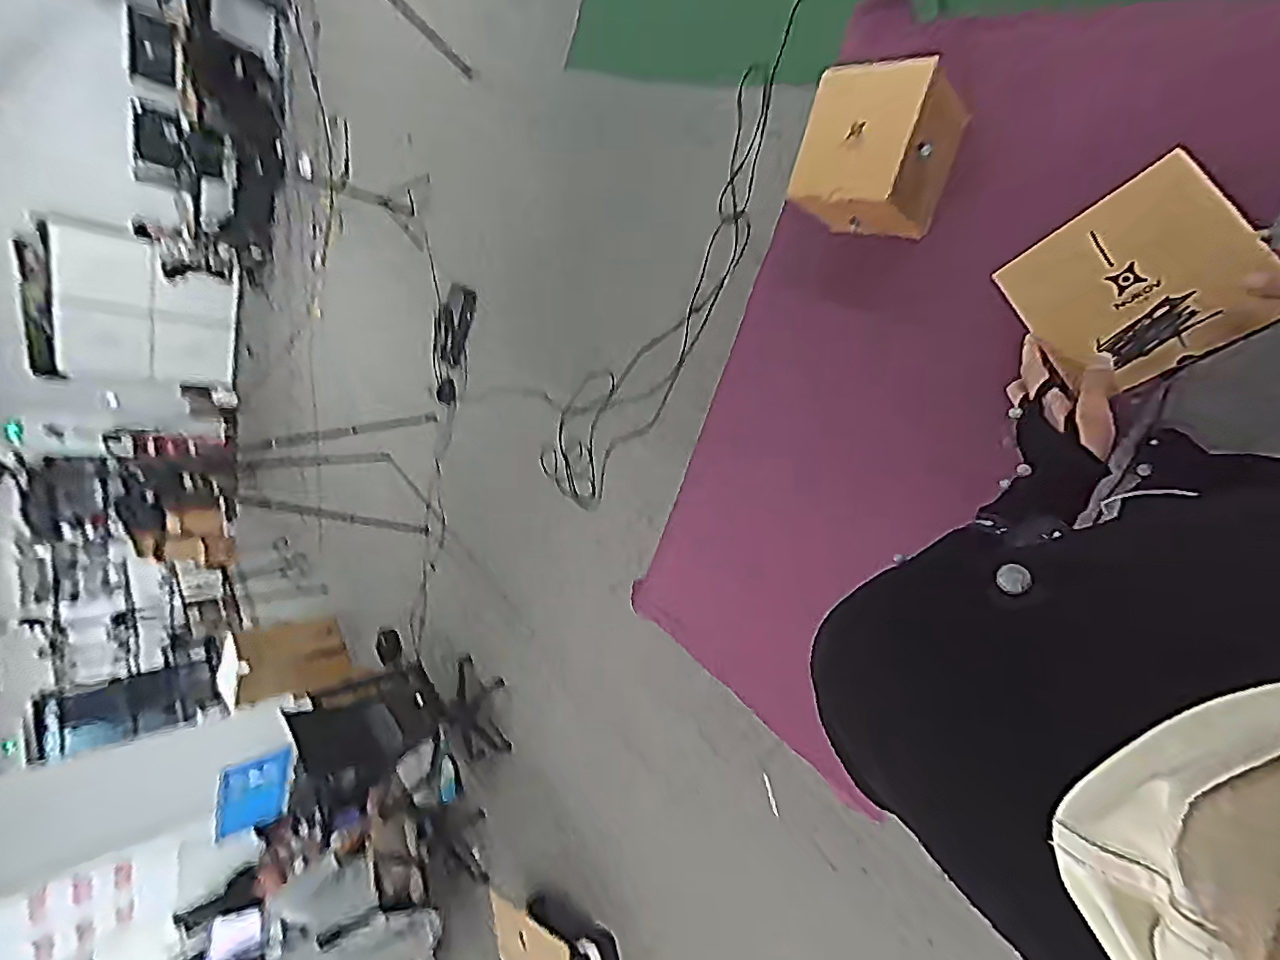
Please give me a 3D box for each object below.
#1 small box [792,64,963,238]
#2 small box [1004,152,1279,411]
[{"bbox_3d":[0.368,-0.492,0.831,0.168,0.176,0.179,29,113,40],"label":"small box"},{"bbox_3d":[0.528,-0.189,0.562,0.168,0.176,0.179,-35,71,44],"label":"small box"}]
